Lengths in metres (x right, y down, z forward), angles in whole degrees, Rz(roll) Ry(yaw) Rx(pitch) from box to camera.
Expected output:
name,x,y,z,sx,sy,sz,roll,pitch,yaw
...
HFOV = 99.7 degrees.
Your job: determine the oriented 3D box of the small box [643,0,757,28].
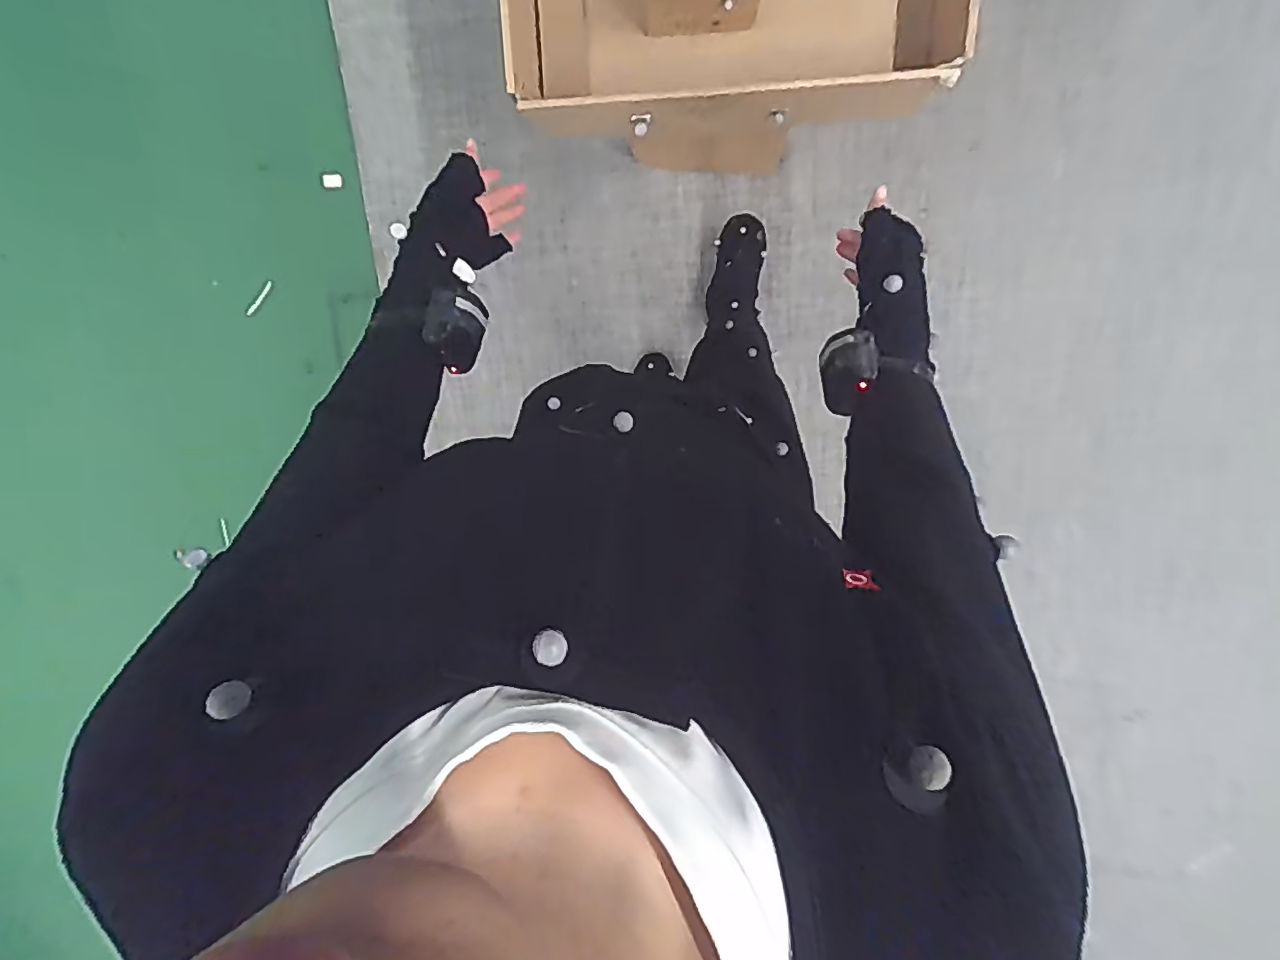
name,x,y,z,sx,sy,sz,roll,pitch,yaw
small box,0.082,-0.747,0.725,0.168,0.176,0.179,-1,104,4
